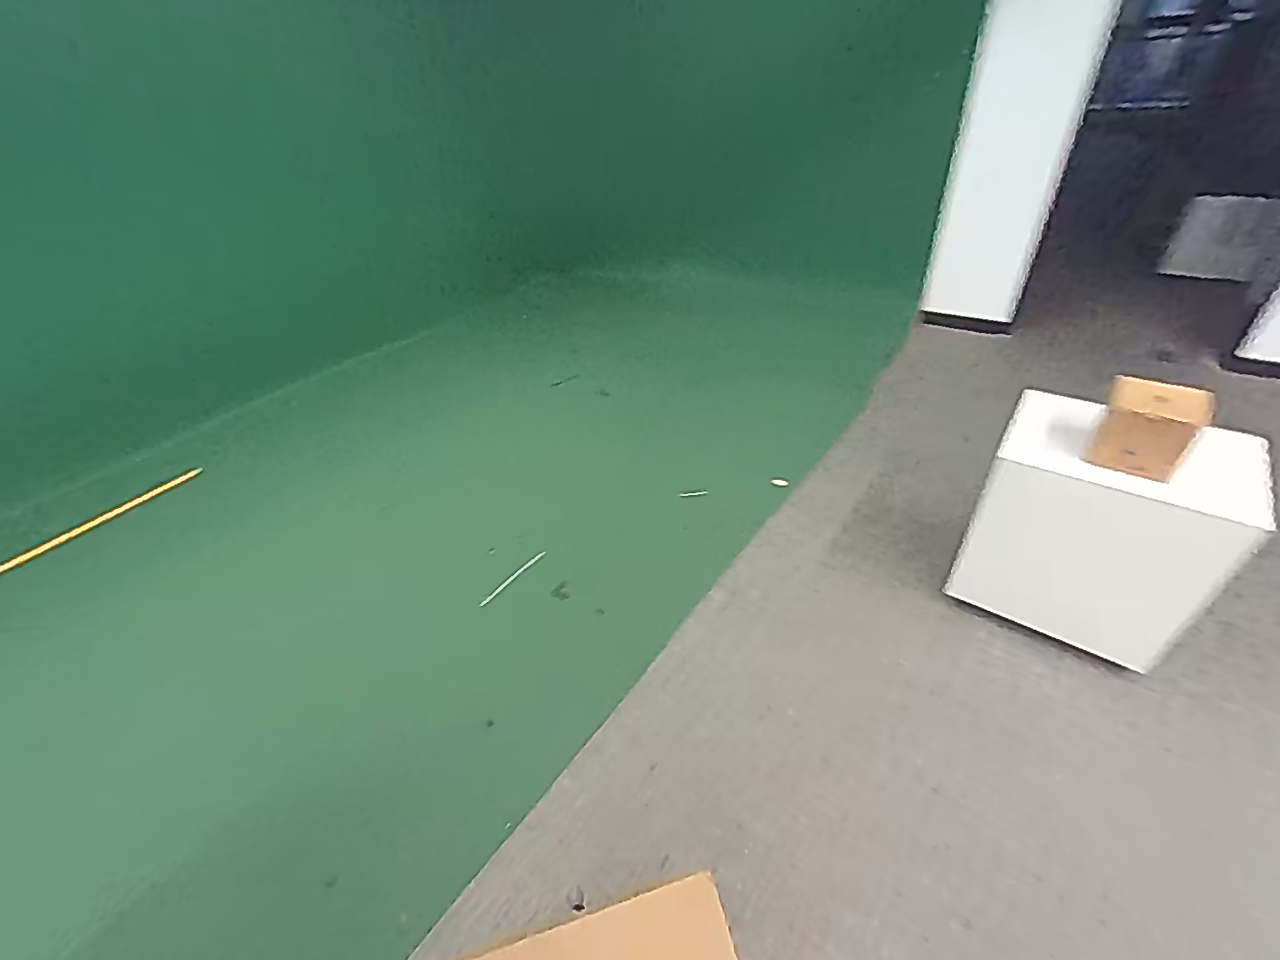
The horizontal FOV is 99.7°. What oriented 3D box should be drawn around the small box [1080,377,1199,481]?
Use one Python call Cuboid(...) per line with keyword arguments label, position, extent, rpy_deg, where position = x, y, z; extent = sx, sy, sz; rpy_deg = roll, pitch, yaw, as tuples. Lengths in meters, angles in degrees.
Cuboid(label="small box", position=(1.212, -0.126, 1.320), extent=(0.168, 0.176, 0.179), rpy_deg=(22, 46, 32))
